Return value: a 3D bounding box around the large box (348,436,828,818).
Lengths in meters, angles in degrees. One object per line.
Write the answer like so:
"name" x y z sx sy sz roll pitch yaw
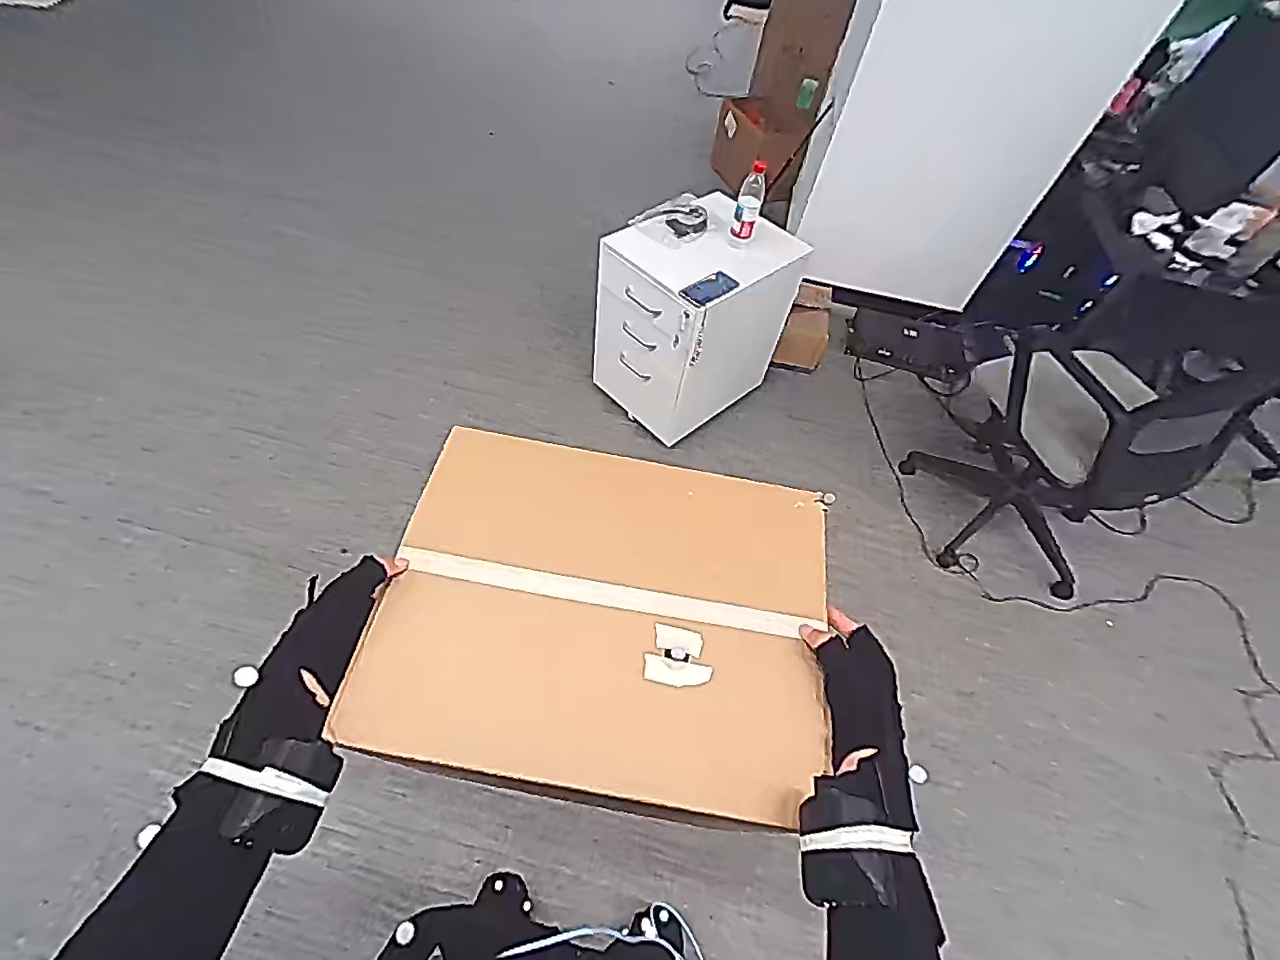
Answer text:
"large box" -0.039 0.189 0.639 0.408 0.320 0.320 11 58 -1
